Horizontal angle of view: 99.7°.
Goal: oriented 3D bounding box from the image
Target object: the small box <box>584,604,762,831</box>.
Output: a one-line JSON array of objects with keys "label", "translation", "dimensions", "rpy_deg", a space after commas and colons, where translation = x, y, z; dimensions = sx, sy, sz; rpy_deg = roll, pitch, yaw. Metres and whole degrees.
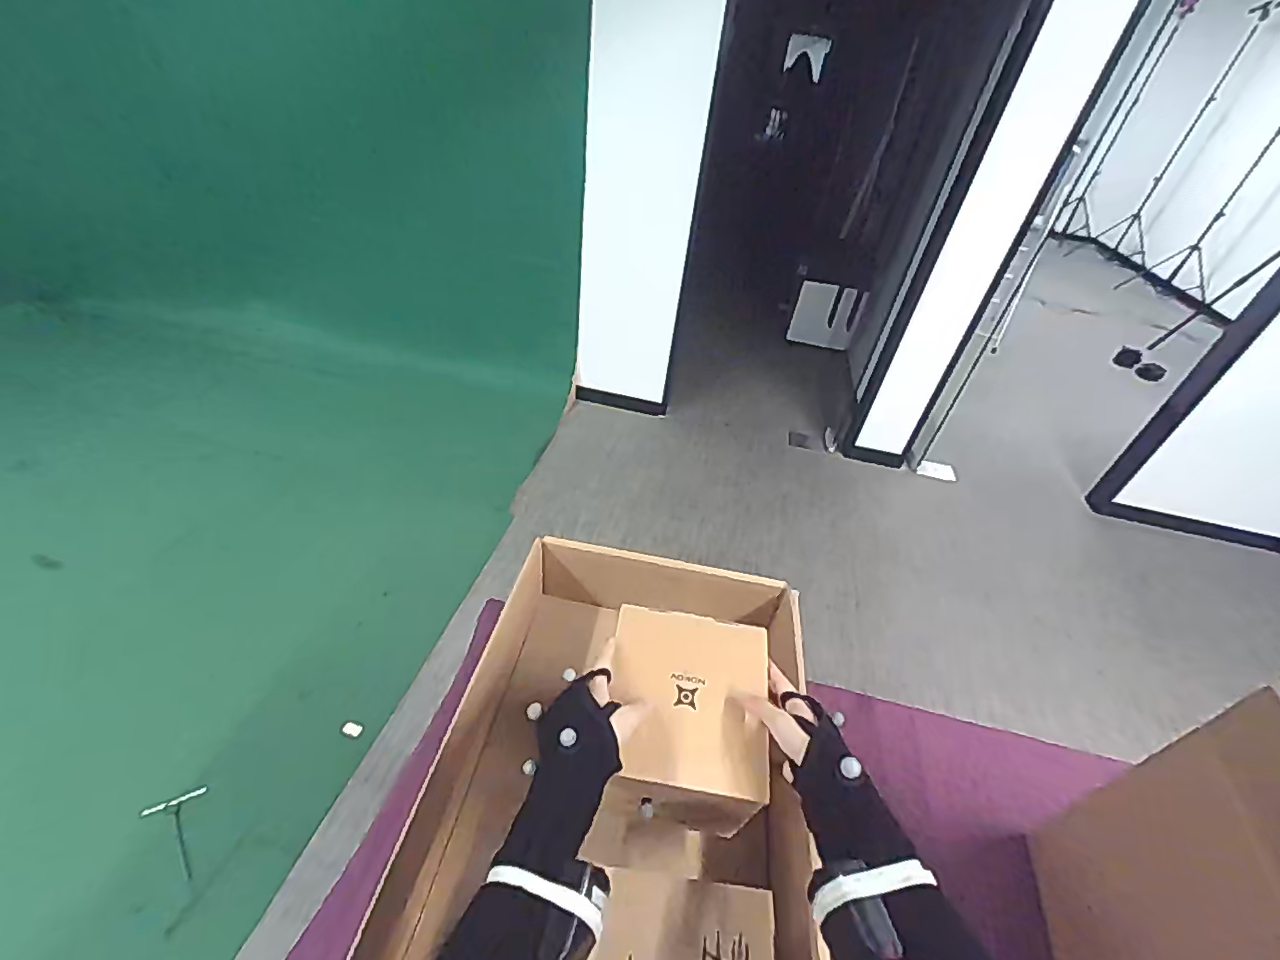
[{"label": "small box", "translation": [0.038, 0.267, 0.603], "dimensions": [0.168, 0.176, 0.179], "rpy_deg": [9, 46, 3]}]
